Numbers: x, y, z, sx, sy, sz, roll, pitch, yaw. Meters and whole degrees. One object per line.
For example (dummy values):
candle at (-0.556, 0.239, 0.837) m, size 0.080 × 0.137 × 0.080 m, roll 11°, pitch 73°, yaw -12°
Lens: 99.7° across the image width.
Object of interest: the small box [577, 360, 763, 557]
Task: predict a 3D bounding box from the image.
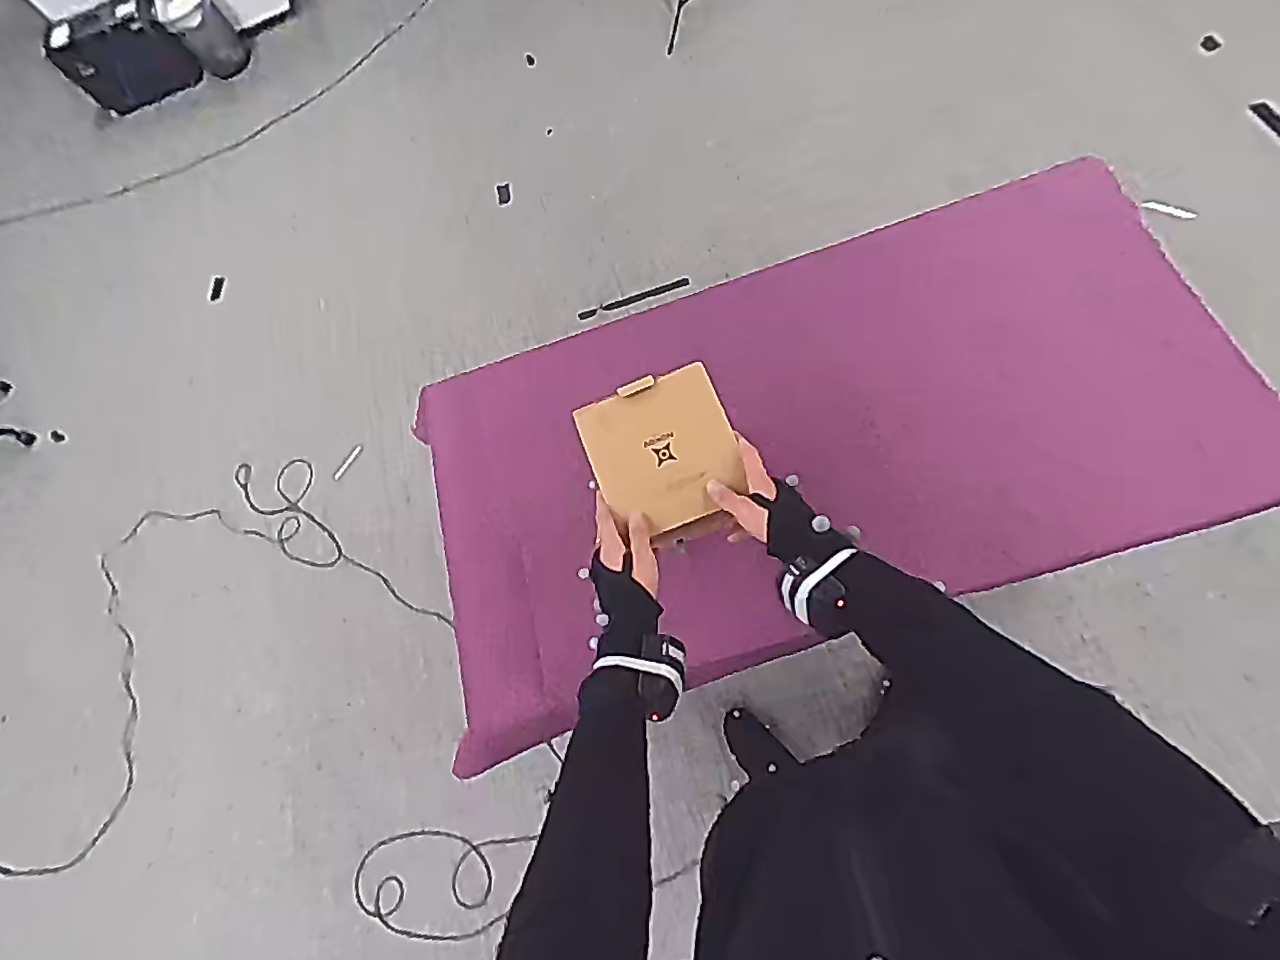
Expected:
small box at (0.036, -0.016, 0.681) m, size 0.168 × 0.176 × 0.179 m, roll -21°, pitch 76°, yaw 1°
